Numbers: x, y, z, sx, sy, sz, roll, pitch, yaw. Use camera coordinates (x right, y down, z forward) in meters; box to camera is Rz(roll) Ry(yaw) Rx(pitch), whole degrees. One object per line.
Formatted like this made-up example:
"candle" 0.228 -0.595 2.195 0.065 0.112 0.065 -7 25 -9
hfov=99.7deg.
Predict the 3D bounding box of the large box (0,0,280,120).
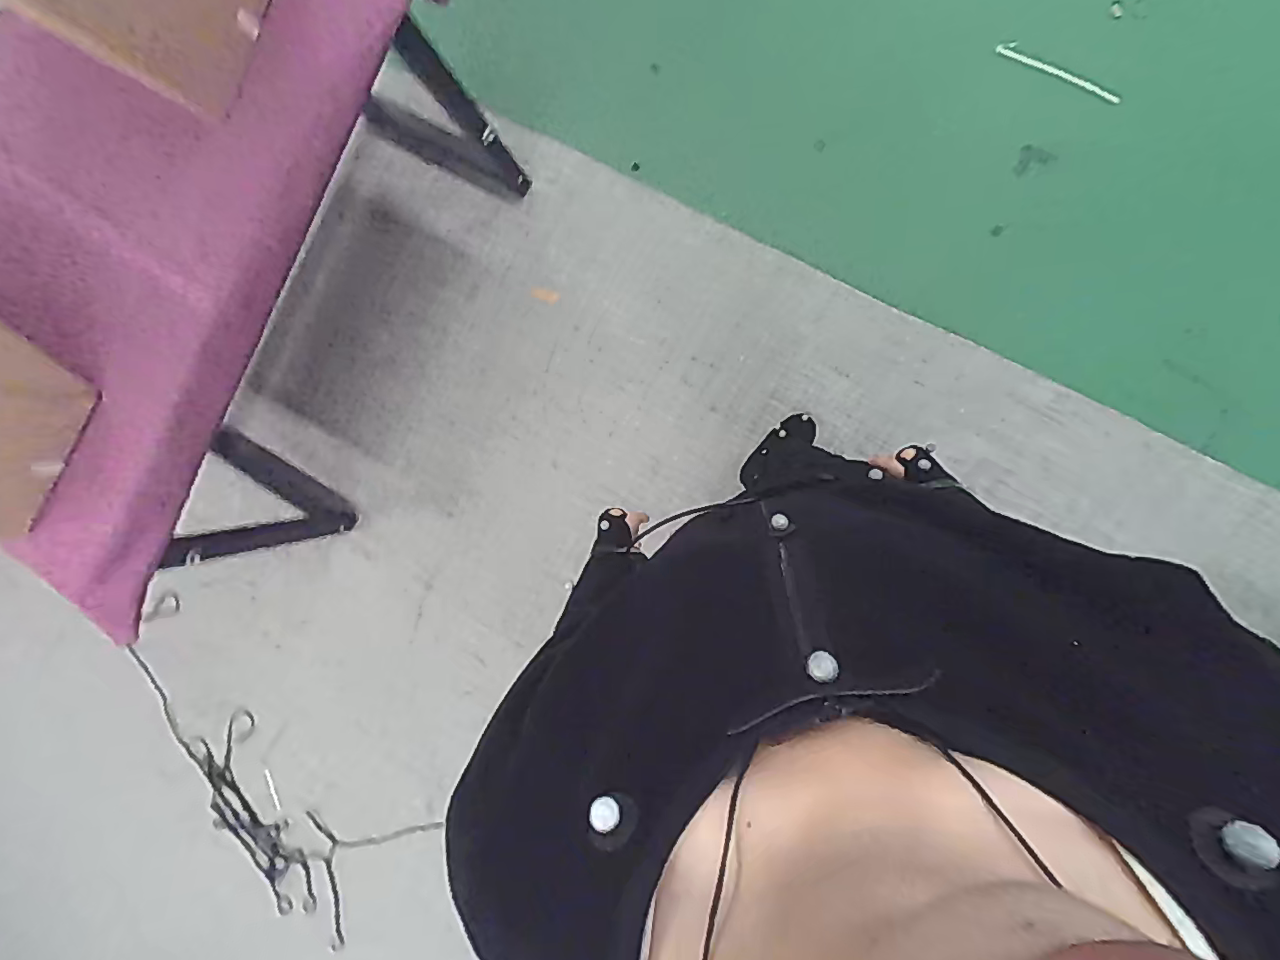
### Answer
"large box" -0.791 -0.795 0.735 0.408 0.320 0.320 29 99 6
